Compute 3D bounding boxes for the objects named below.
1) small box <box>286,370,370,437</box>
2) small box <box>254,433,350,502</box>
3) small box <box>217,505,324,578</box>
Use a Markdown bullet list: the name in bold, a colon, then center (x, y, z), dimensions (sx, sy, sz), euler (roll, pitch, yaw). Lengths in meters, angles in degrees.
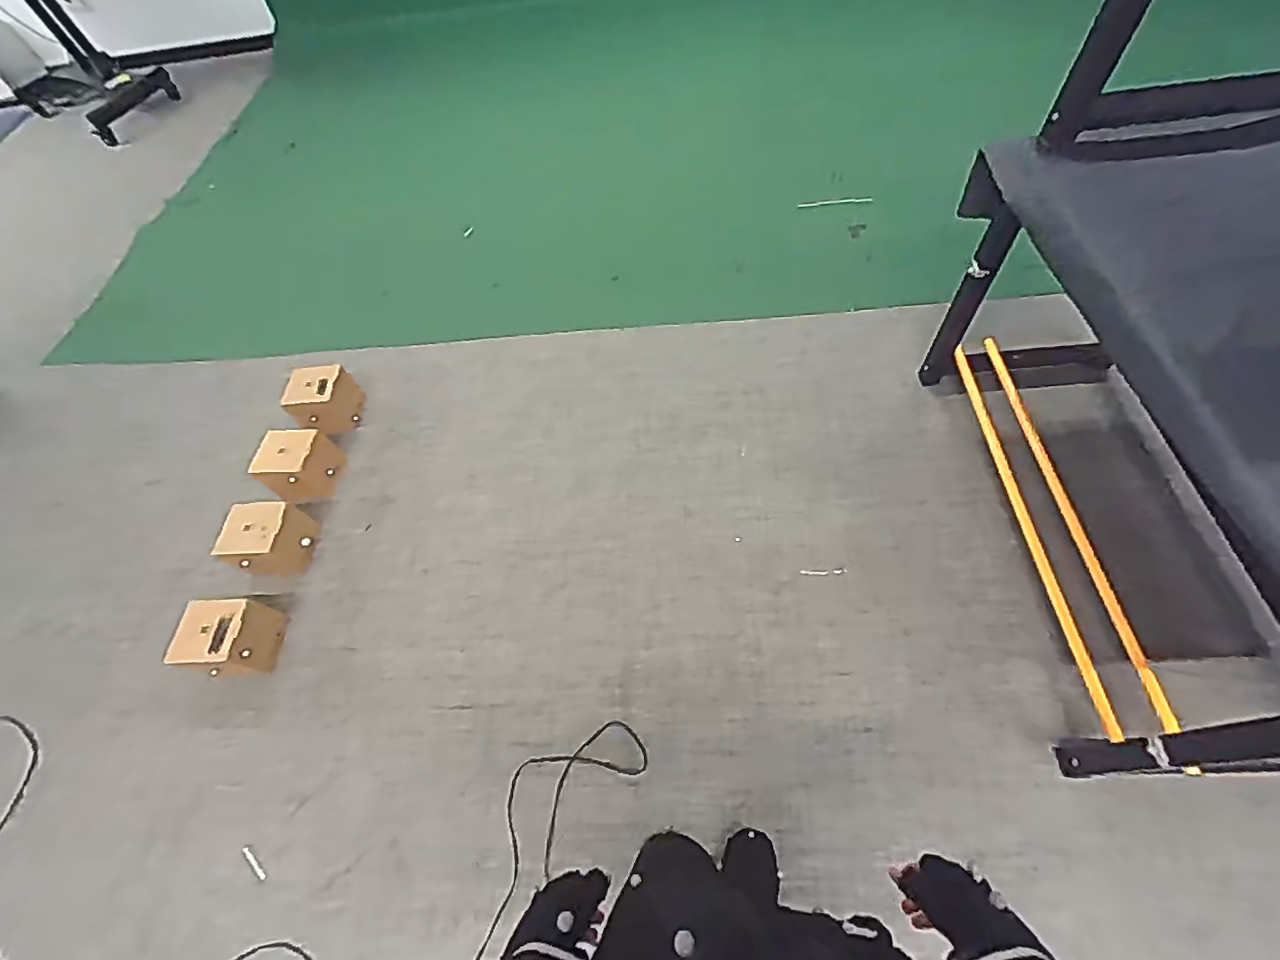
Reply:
- **small box**: center (-1.092, -0.265, 1.910), dimensions (0.179, 0.176, 0.168), euler (-4, 57, 5)
- **small box**: center (-1.096, -0.037, 1.768), dimensions (0.179, 0.176, 0.168), euler (-1, 57, 6)
- **small box**: center (-1.099, 0.189, 1.623), dimensions (0.179, 0.176, 0.168), euler (-3, 59, 5)
